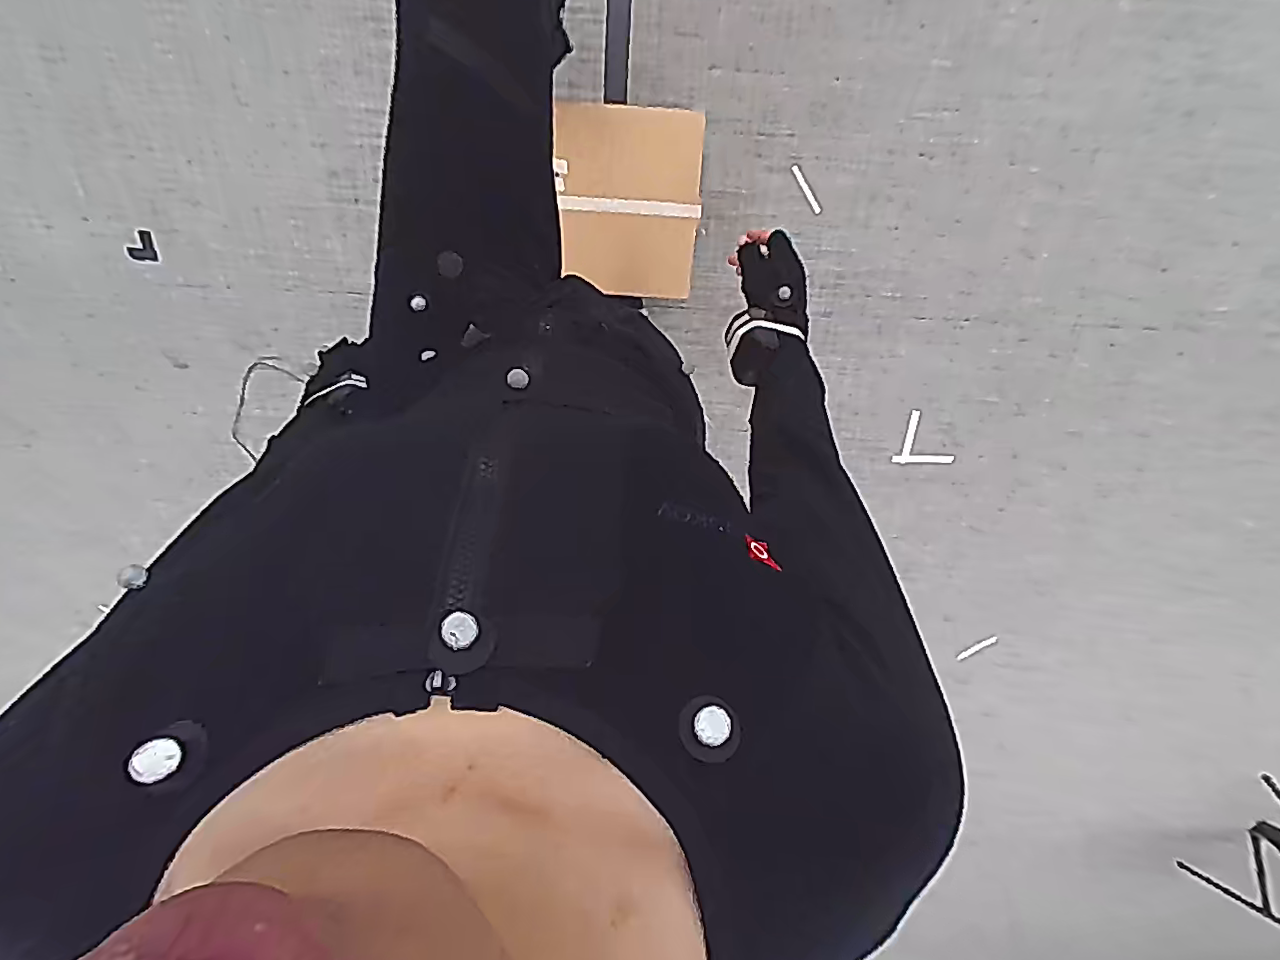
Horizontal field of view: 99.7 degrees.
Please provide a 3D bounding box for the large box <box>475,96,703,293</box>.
[{"bbox_3d":[-0.090,-0.584,1.130,0.408,0.320,0.320,3,117,-1],"label":"large box"}]
